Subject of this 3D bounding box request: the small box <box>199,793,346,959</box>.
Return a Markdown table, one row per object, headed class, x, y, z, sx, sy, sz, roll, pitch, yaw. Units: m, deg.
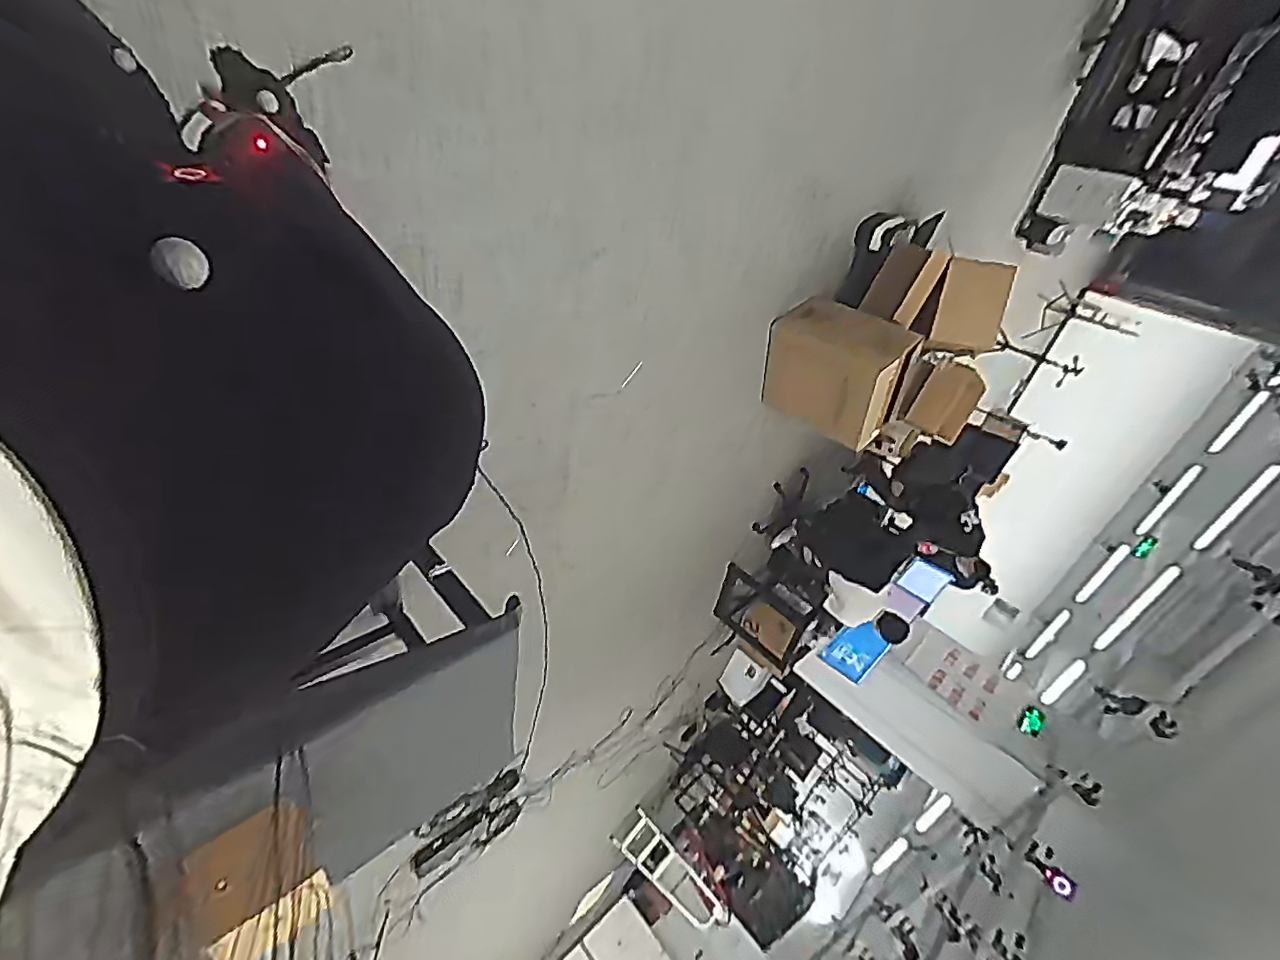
| class | x | y | z | sx | sy | sz | roll | pitch | yaw |
| --- | --- | --- | --- | --- | --- | --- | --- | --- | --- |
| small box | -0.679 | 0.734 | 0.999 | 0.179 | 0.176 | 0.168 | -25 | 140 | -40 |
